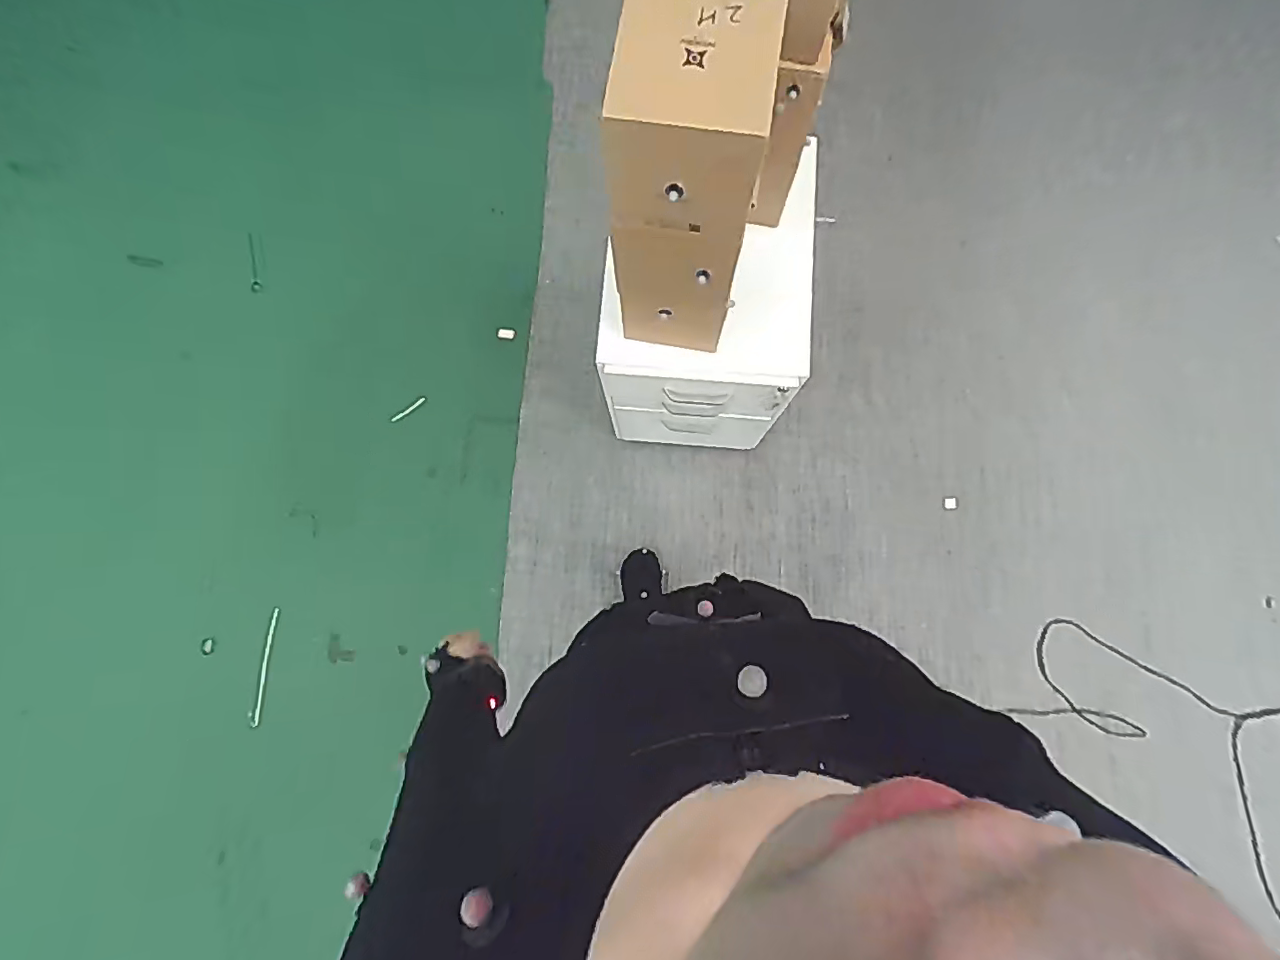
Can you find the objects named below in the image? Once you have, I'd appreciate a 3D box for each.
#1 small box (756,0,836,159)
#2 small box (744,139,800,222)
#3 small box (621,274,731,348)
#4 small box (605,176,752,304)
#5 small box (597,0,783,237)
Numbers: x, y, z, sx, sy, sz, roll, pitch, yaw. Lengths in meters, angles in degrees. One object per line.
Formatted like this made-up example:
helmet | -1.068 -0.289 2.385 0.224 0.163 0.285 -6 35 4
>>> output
small box | 0.180 -0.623 0.819 0.179 0.176 0.168 11 80 3
small box | 0.190 -0.597 0.979 0.179 0.176 0.168 11 81 4
small box | 0.064 -0.347 0.936 0.179 0.176 0.168 10 79 2
small box | 0.057 -0.374 0.776 0.179 0.176 0.168 10 78 4
small box | 0.053 -0.409 0.615 0.168 0.176 0.179 9 78 2
